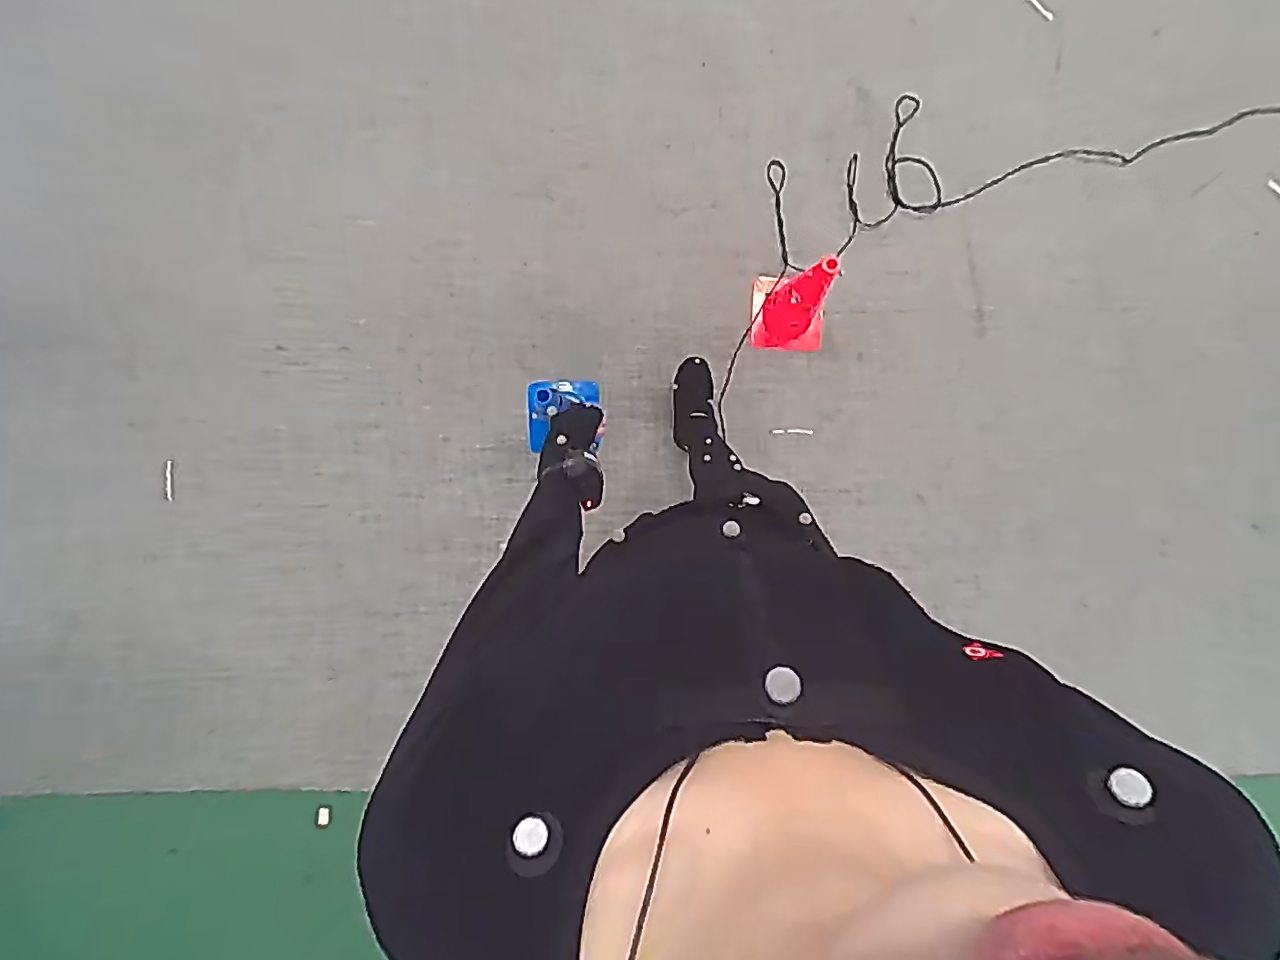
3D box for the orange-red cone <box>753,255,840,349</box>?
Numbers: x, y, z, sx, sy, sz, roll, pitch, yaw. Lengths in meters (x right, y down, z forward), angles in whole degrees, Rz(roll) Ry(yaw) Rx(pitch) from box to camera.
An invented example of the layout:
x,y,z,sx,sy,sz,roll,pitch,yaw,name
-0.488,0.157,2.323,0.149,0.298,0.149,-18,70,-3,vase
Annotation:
x,y,z,sx,sy,sz,roll,pitch,yaw,name
0.416,-0.466,1.338,0.198,0.360,0.199,4,91,1,orange-red cone
